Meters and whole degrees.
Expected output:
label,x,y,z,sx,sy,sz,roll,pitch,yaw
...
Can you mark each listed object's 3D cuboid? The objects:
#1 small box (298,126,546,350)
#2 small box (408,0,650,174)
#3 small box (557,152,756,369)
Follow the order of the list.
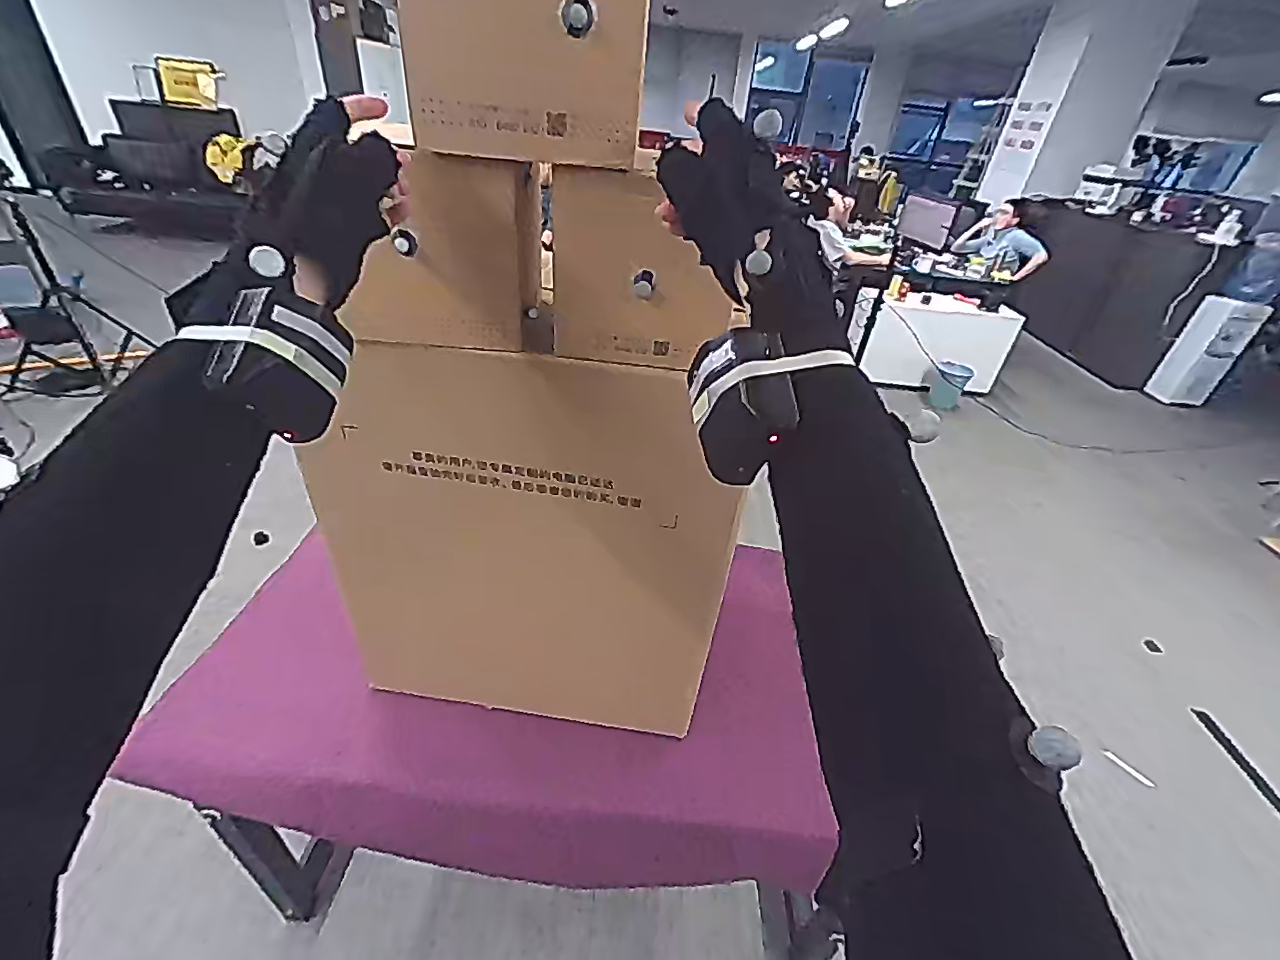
label,x,y,z,sx,sy,sz,roll,pitch,yaw
small box,-0.191,-0.240,0.540,0.179,0.176,0.168,3,35,-3
small box,-0.081,-0.356,0.438,0.168,0.176,0.179,2,35,-8
small box,0.015,-0.226,0.549,0.168,0.176,0.179,7,36,1
